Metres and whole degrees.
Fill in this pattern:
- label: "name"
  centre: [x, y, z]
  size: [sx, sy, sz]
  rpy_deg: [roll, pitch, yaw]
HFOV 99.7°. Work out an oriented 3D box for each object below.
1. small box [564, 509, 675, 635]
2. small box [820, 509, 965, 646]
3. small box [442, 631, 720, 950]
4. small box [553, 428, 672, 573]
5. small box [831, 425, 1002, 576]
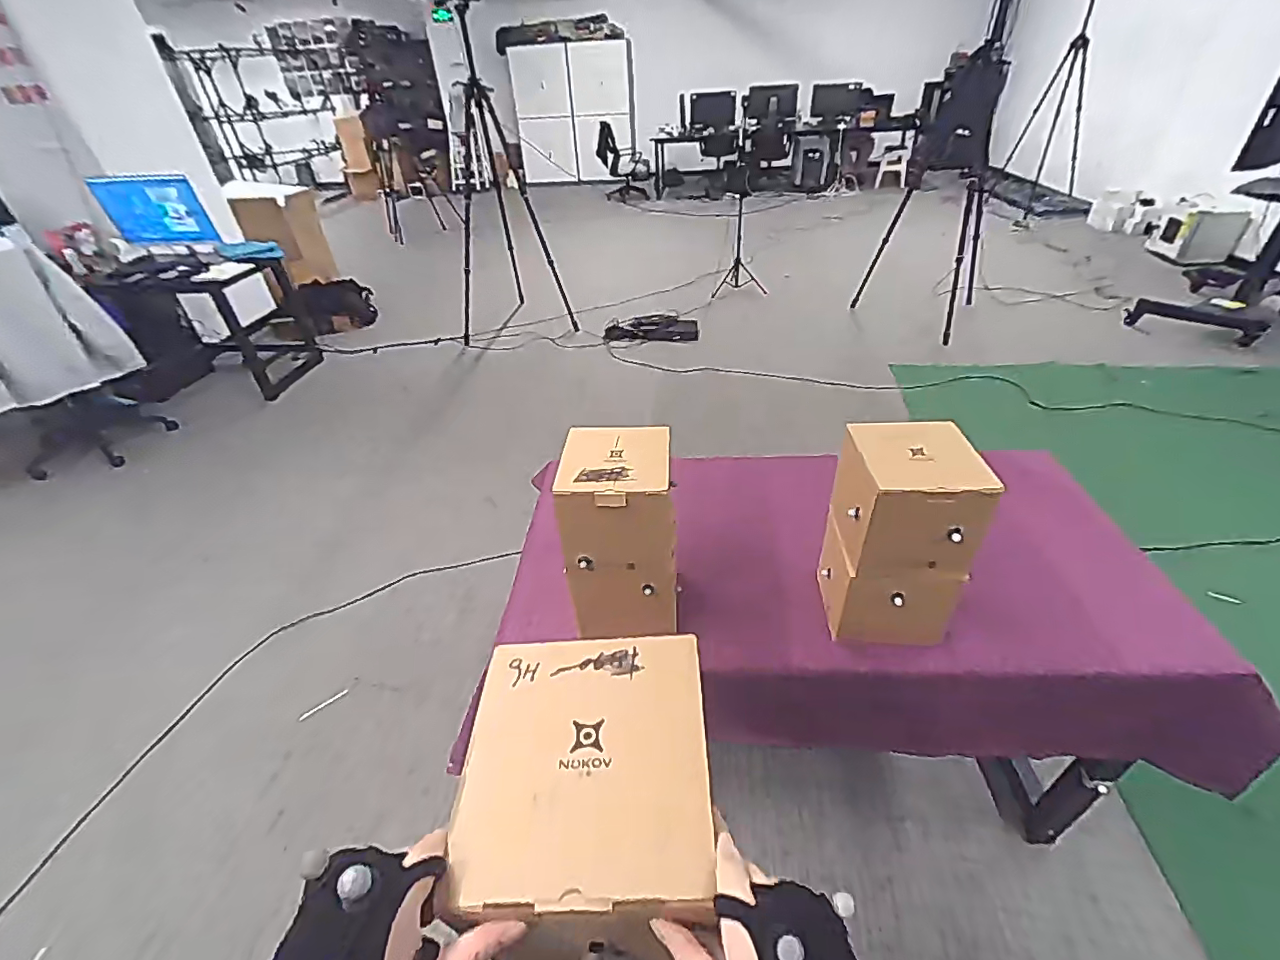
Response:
- label: "small box"
  centre: [-0.026, 0.164, 0.962]
  size: [0.179, 0.176, 0.168]
  rpy_deg: [0, 37, 4]
- label: "small box"
  centre: [0.412, 0.165, 0.922]
  size: [0.179, 0.176, 0.168]
  rpy_deg: [1, 38, 6]
- label: "small box"
  centre: [-0.027, 0.242, 0.422]
  size: [0.168, 0.176, 0.179]
  rpy_deg: [-4, 40, 4]
- label: "small box"
  centre: [-0.032, 0.032, 0.864]
  size: [0.168, 0.176, 0.179]
  rpy_deg: [0, 36, 4]
- label: "small box"
  centre: [0.405, 0.032, 0.828]
  size: [0.168, 0.176, 0.179]
  rpy_deg: [0, 37, 4]
